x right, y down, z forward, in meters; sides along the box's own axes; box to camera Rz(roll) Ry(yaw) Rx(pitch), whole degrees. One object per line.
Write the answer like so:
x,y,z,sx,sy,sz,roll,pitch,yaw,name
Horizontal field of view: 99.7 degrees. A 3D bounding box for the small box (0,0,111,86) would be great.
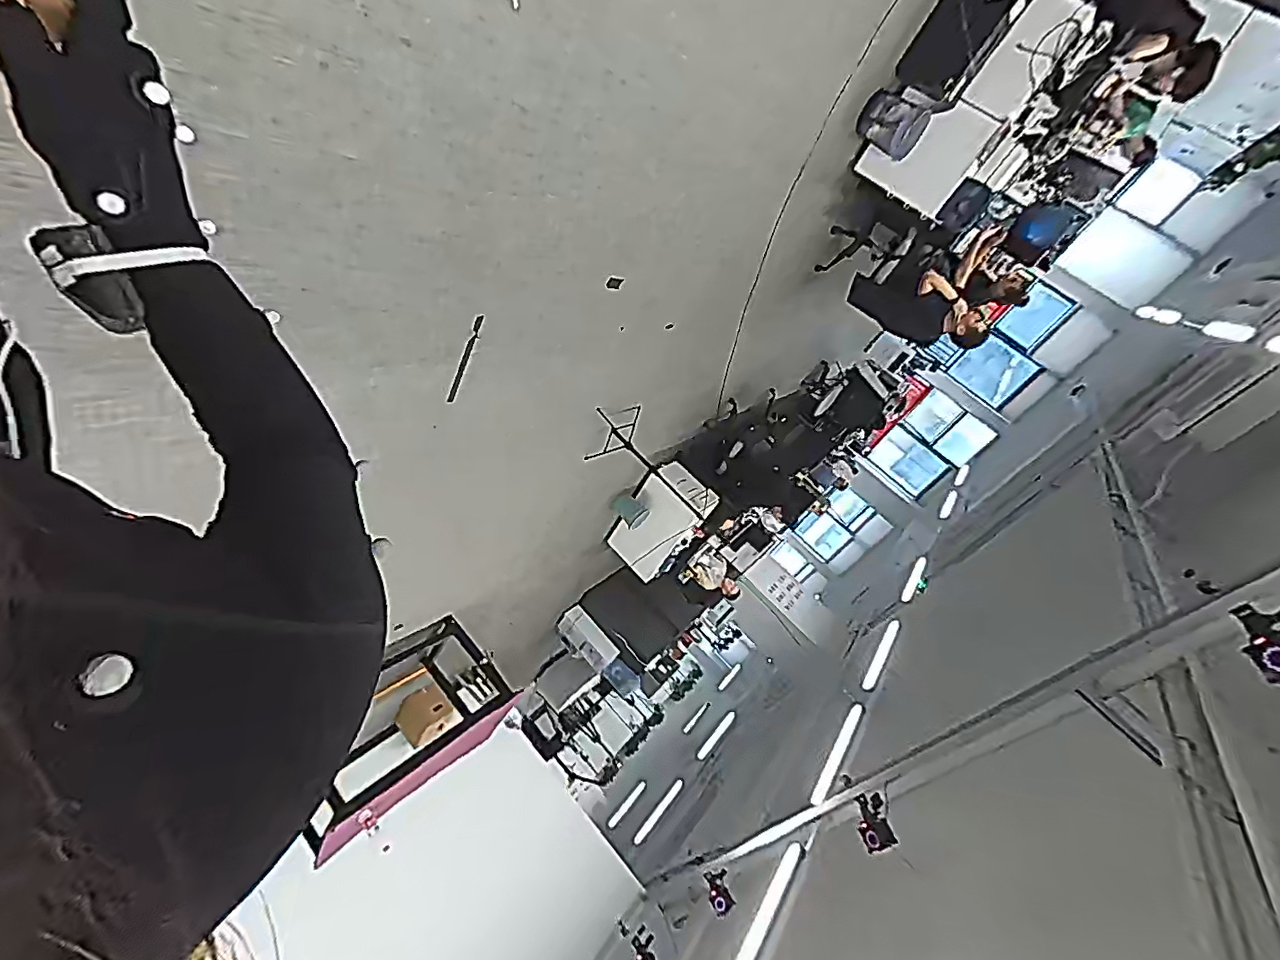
-0.457,-0.367,0.301,0.168,0.176,0.179,-14,169,12,small box
